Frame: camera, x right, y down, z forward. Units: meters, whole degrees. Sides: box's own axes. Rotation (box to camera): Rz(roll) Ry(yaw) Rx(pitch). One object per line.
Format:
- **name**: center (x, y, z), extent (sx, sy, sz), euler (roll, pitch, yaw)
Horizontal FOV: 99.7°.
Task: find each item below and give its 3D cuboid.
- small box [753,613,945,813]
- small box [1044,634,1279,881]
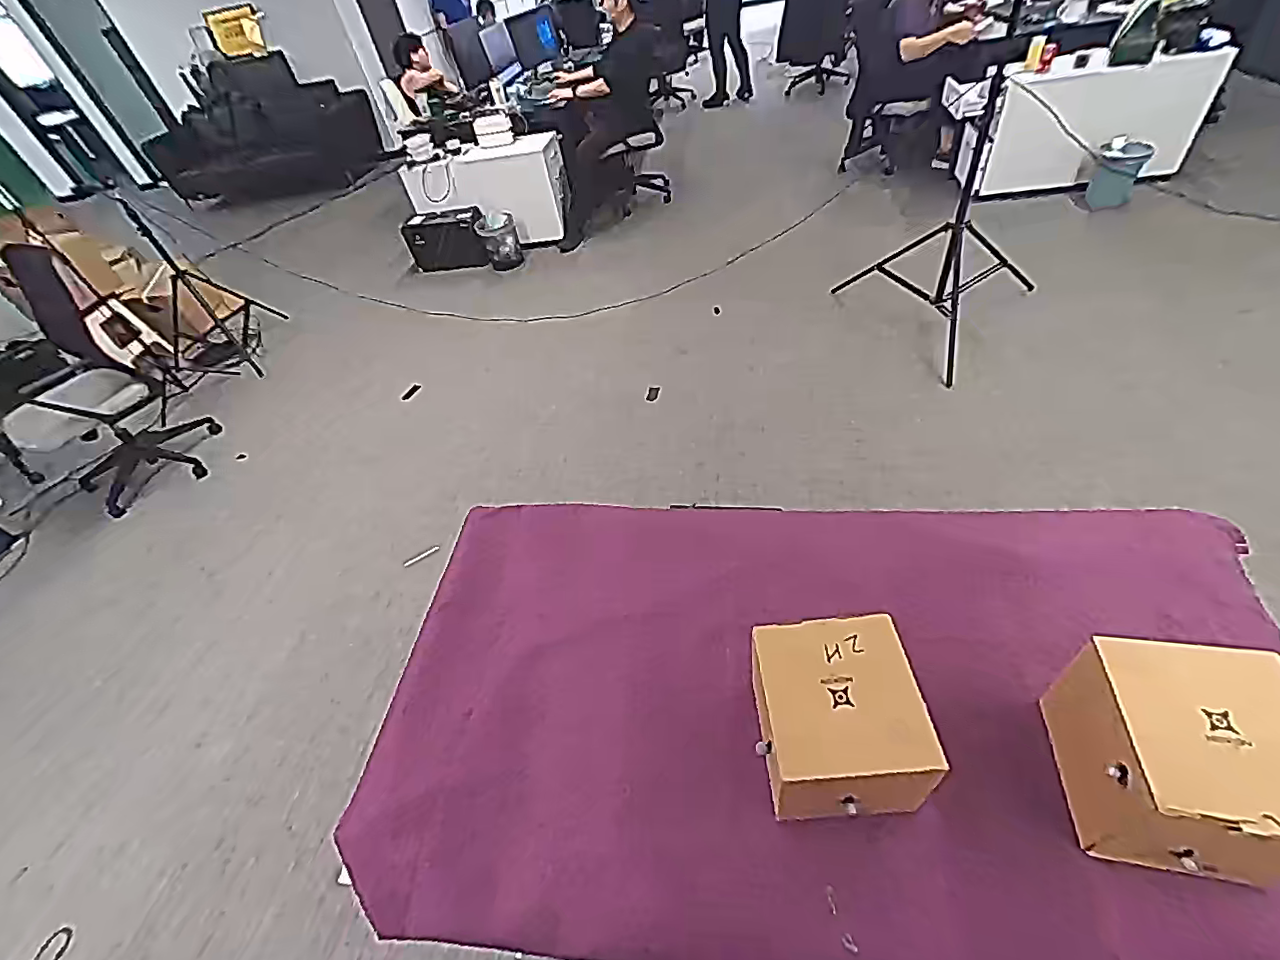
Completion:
- **small box**: center (0.233, 0.286, 0.653), extent (0.168, 0.176, 0.179), euler (-7, 45, 5)
- **small box**: center (0.569, 0.291, 0.574), extent (0.168, 0.176, 0.179), euler (2, 46, 15)
